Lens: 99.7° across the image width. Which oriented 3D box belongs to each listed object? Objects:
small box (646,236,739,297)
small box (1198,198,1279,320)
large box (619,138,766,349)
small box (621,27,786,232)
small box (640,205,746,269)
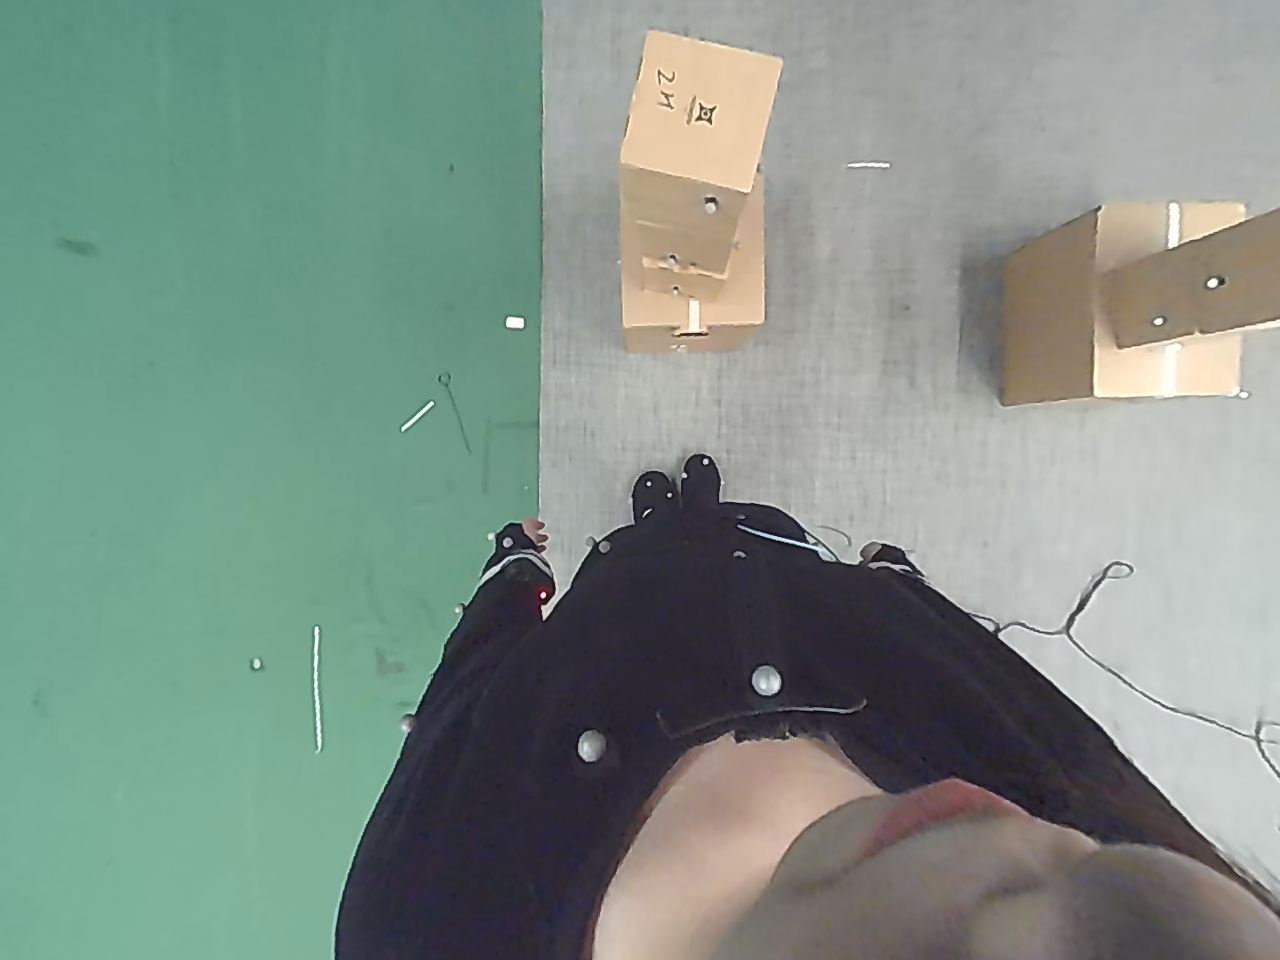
[{"bbox_3d":[0.107,-0.486,1.082,0.168,0.176,0.179,10,94,1],"label":"small box"},{"bbox_3d":[1.095,-0.373,0.900,0.168,0.176,0.179,-9,94,3],"label":"small box"},{"bbox_3d":[0.120,-0.553,1.321,0.320,0.320,0.408,-1,93,2],"label":"large box"},{"bbox_3d":[0.082,-0.470,0.756,0.179,0.176,0.168,14,94,2],"label":"small box"},{"bbox_3d":[0.097,-0.485,0.920,0.168,0.176,0.179,13,95,2],"label":"small box"}]
